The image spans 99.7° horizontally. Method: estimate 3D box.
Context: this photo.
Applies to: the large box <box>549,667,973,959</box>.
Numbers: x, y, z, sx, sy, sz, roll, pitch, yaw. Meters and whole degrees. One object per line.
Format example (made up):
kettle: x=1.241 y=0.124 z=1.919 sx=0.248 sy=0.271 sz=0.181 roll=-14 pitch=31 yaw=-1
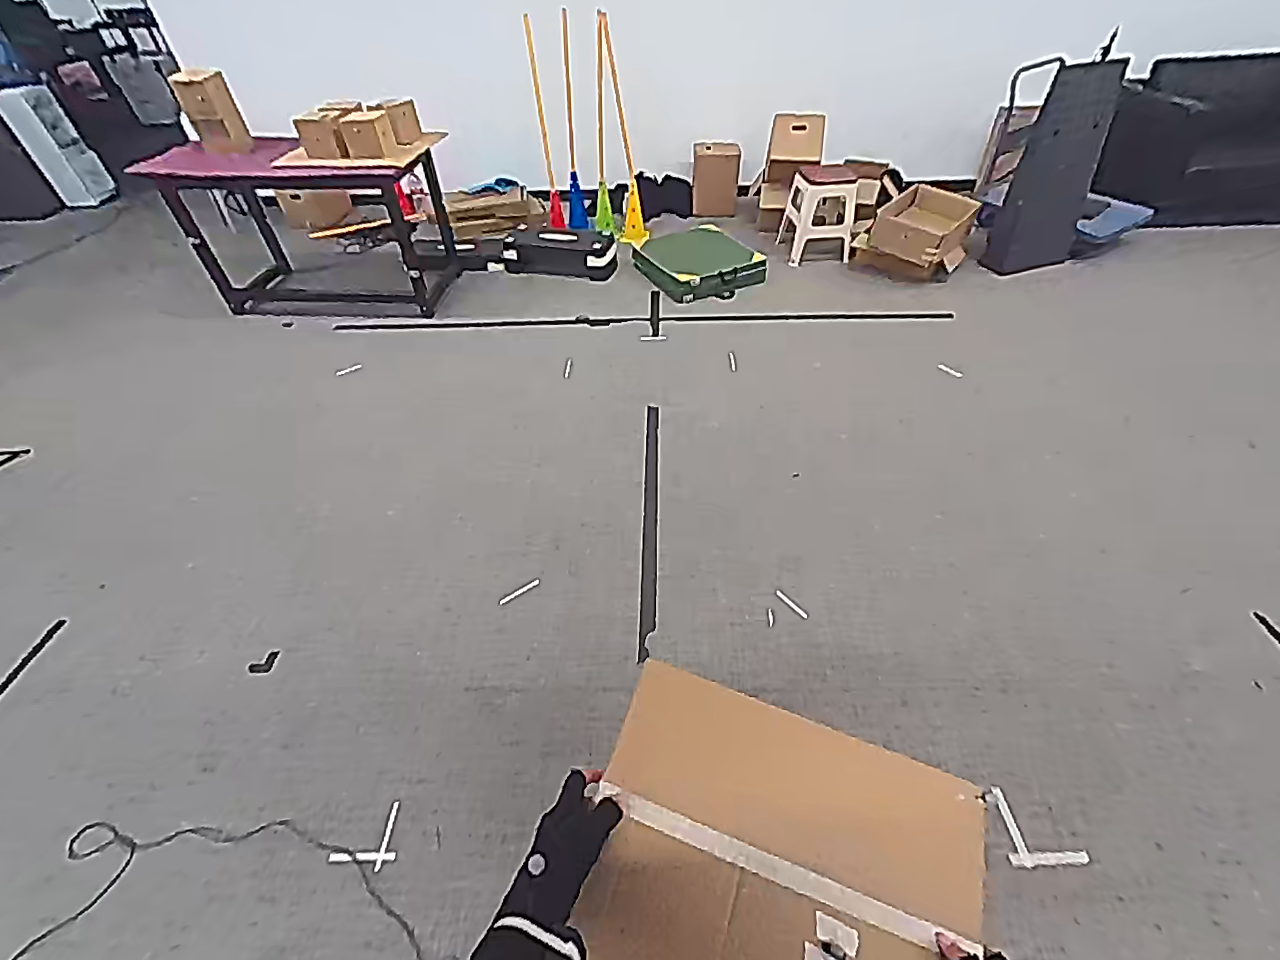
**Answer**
large box: x=0.140 y=0.494 z=0.698 sx=0.408 sy=0.320 sz=0.320 roll=18 pitch=58 yaw=11
